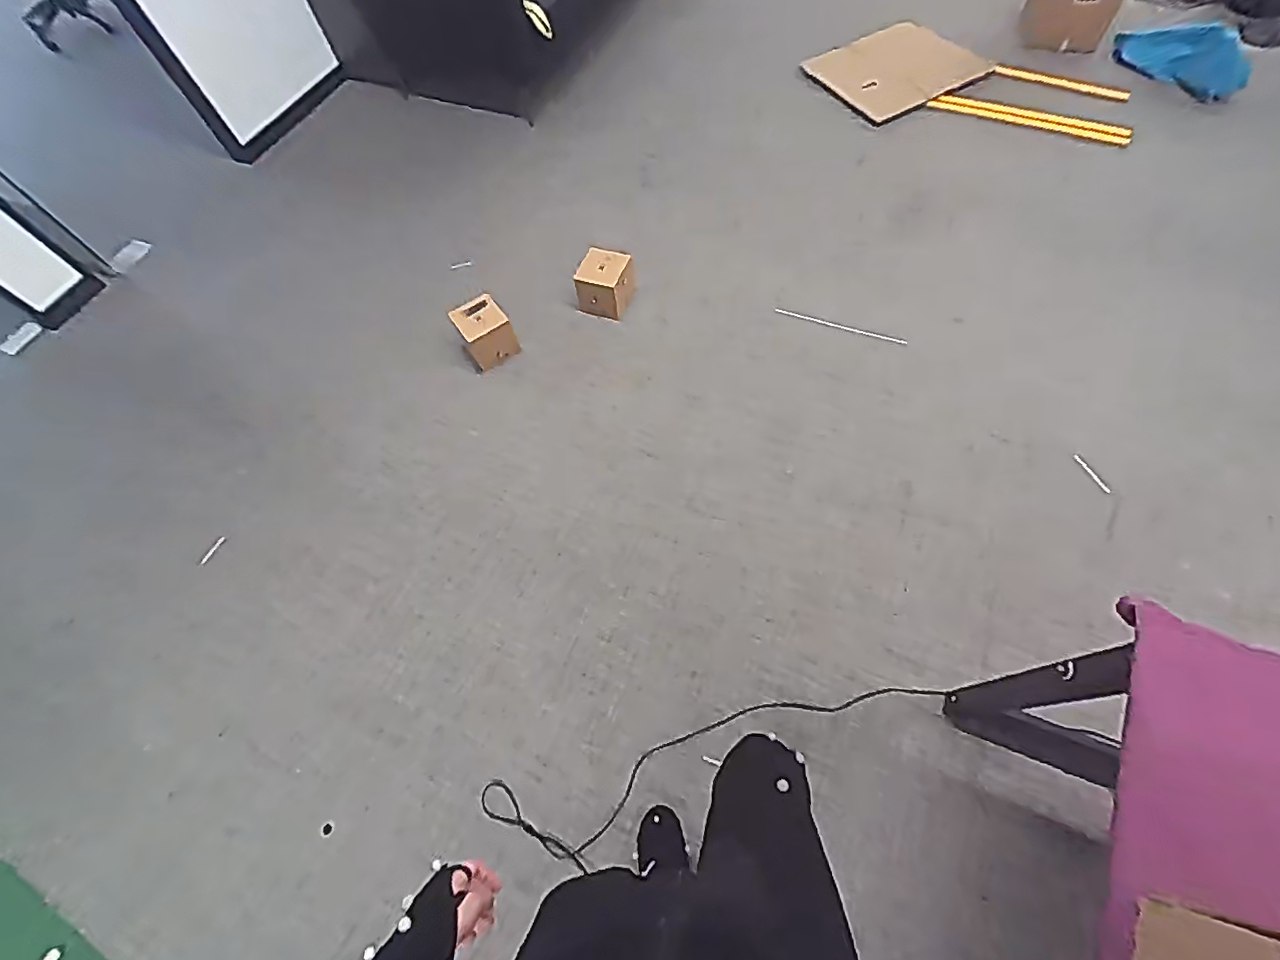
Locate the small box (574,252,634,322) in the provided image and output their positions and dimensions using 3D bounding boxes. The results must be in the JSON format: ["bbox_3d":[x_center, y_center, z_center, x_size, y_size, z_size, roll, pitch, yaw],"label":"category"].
[{"bbox_3d":[-0.131,-0.736,2.076,0.168,0.176,0.179,17,65,13],"label":"small box"}]
